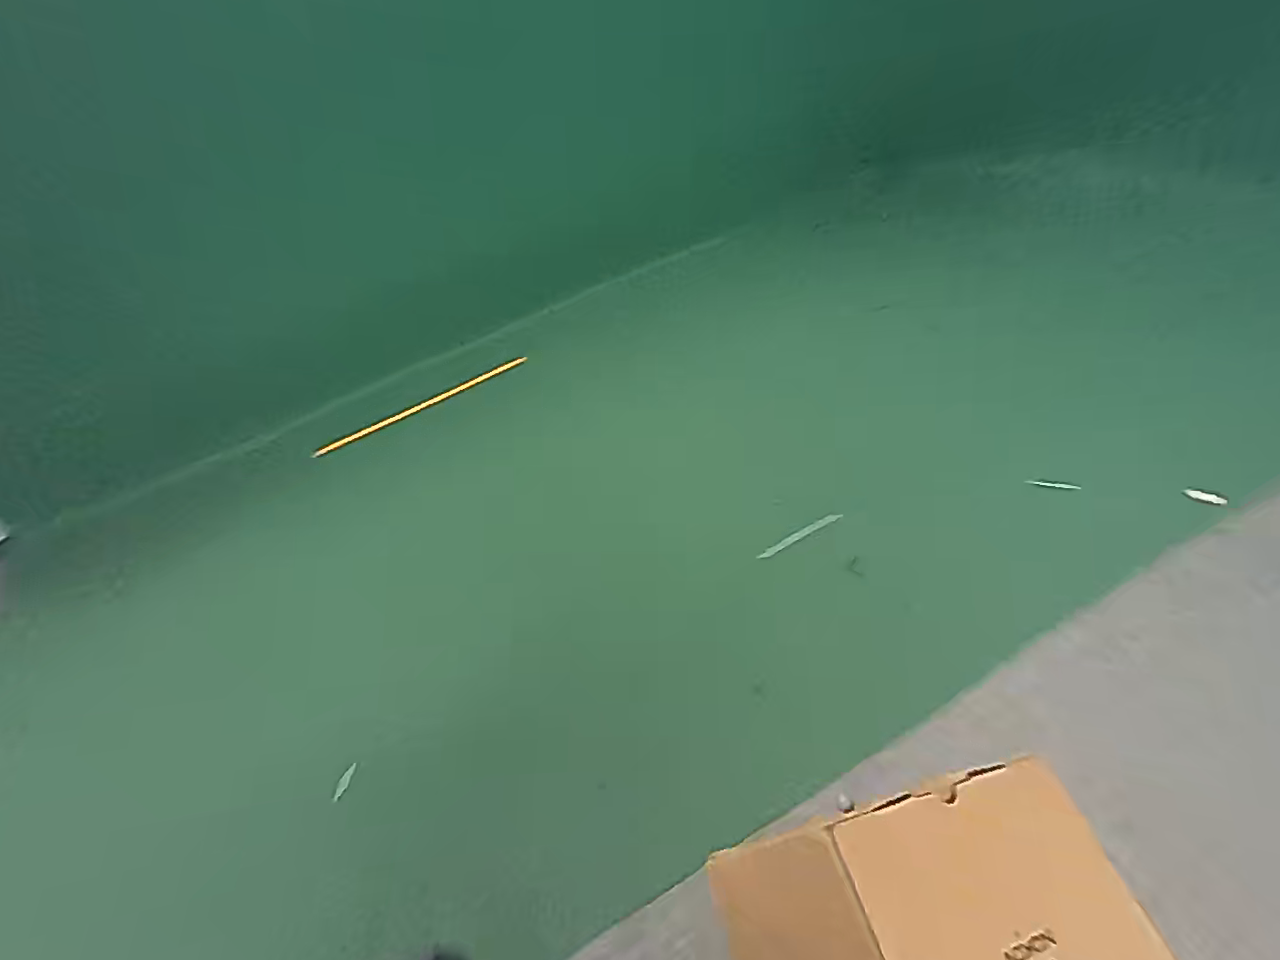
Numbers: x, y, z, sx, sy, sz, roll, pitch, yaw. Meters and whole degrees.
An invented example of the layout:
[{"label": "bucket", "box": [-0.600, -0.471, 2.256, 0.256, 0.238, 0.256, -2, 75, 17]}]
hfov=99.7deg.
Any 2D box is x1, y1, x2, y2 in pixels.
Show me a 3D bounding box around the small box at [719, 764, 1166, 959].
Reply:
[{"label": "small box", "box": [0.169, 0.292, 0.313, 0.168, 0.176, 0.179, -1, 50, -21]}]
